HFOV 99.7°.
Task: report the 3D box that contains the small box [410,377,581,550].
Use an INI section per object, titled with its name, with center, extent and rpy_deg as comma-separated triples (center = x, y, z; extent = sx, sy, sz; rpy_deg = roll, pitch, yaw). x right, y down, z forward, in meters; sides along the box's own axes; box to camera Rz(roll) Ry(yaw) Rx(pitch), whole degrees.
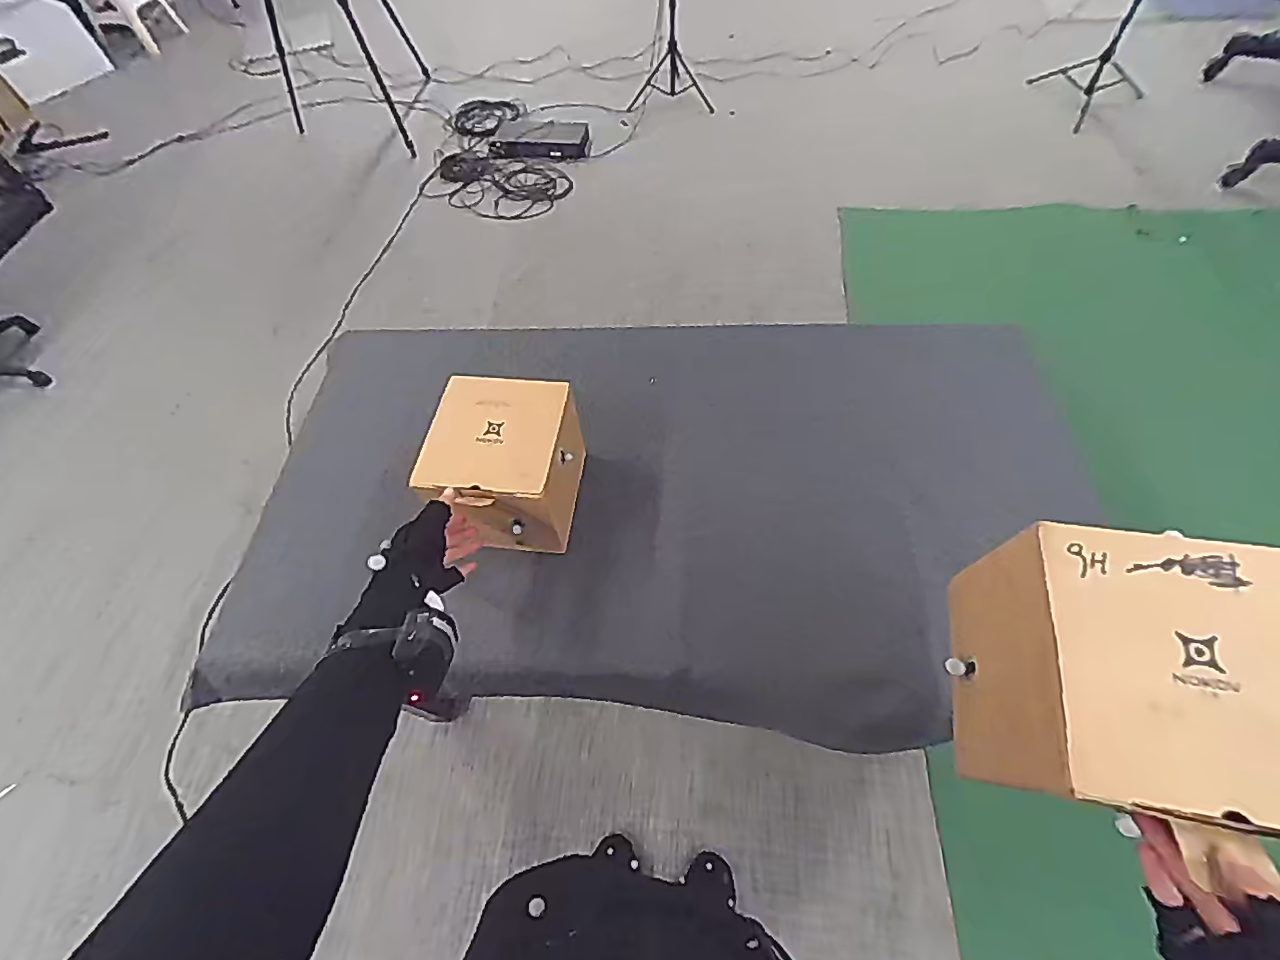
[small box]
center = -0.180, -0.017, 0.741
extent = 0.168, 0.176, 0.179
rpy_deg = 5, 58, 5
